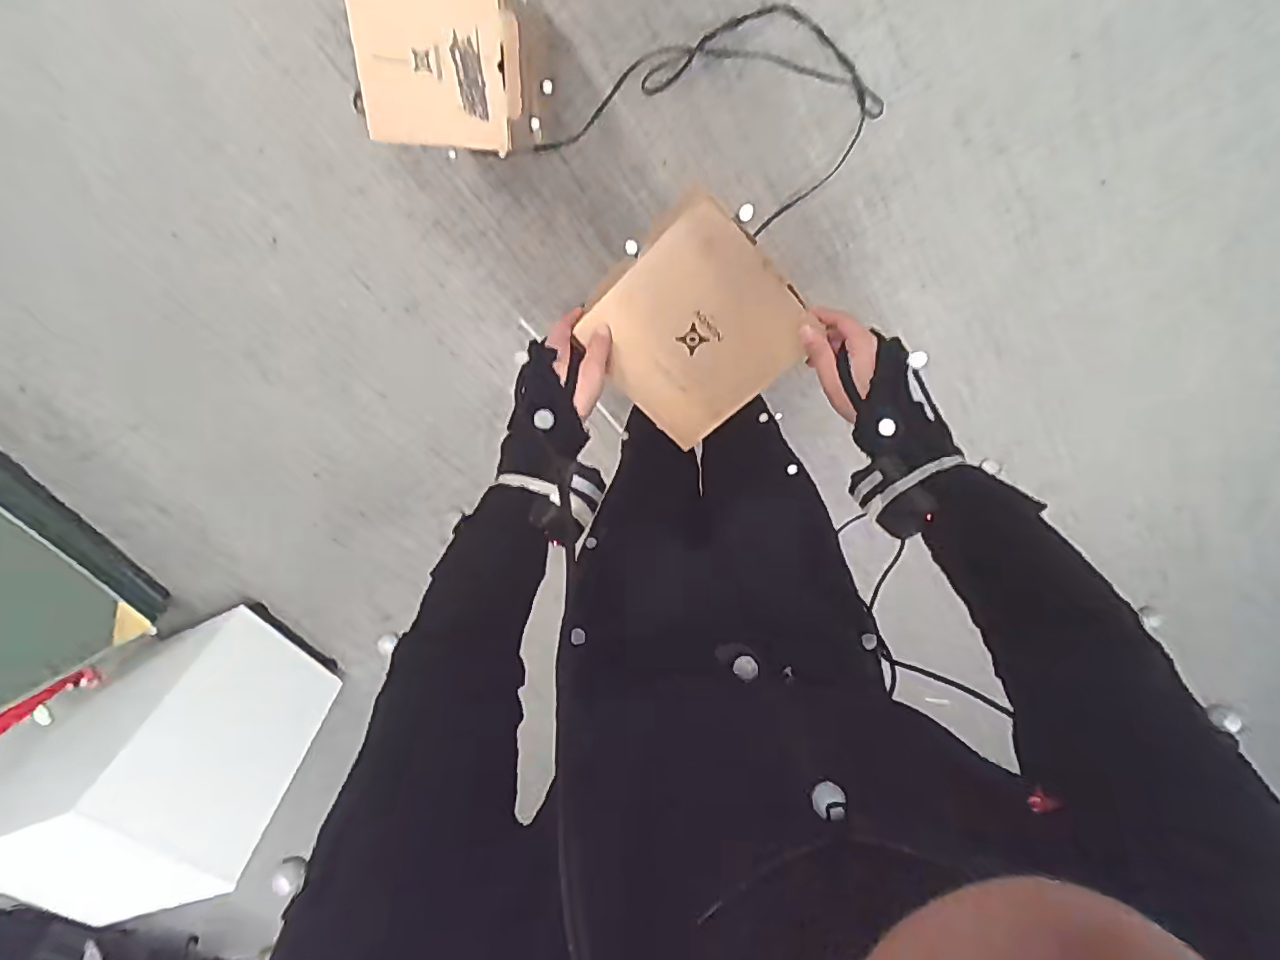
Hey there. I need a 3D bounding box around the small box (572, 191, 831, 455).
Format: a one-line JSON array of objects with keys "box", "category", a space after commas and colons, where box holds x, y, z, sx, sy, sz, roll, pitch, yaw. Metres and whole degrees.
[{"box": [0.058, -0.165, 0.549, 0.168, 0.176, 0.179, 42, 116, -18], "category": "small box"}]

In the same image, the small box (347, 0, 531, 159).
[{"box": [-0.241, -0.518, 0.698, 0.179, 0.176, 0.168, 3, 121, 0], "category": "small box"}]

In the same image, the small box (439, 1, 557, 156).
[{"box": [-0.228, -0.609, 0.836, 0.168, 0.176, 0.179, -1, 122, 2], "category": "small box"}]
